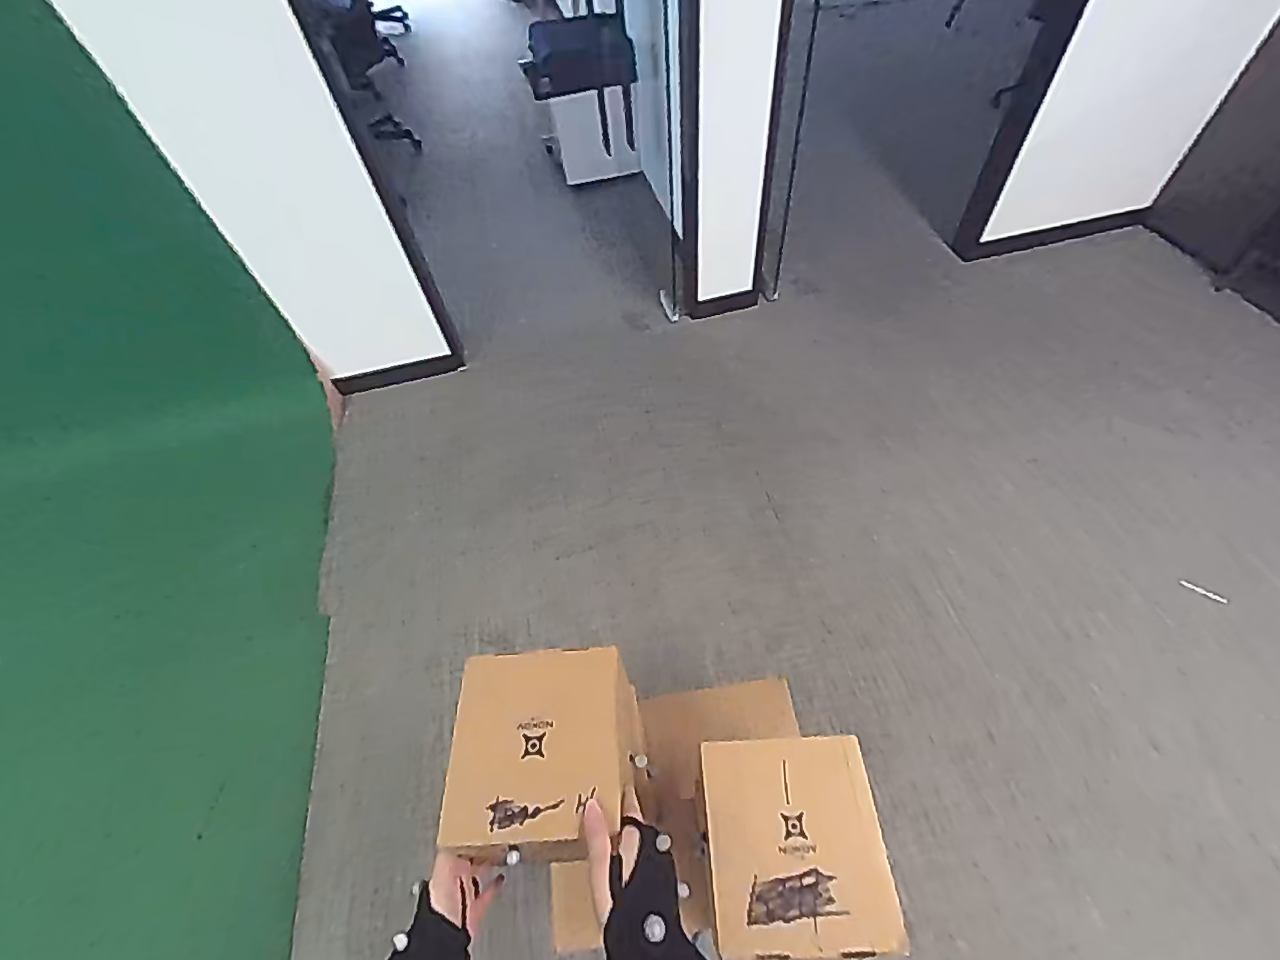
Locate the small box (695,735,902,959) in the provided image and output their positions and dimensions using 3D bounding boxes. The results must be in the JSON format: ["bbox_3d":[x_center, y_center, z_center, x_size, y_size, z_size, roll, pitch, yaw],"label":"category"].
[{"bbox_3d":[0.149,0.389,0.578,0.168,0.176,0.179,-4,51,2],"label":"small box"}]

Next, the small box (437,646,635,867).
[{"bbox_3d":[-0.097,0.304,0.593,0.168,0.176,0.179,-5,48,3],"label":"small box"}]

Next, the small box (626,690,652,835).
[{"bbox_3d":[-0.078,0.420,0.780,0.179,0.176,0.168,-9,53,-1],"label":"small box"}]
